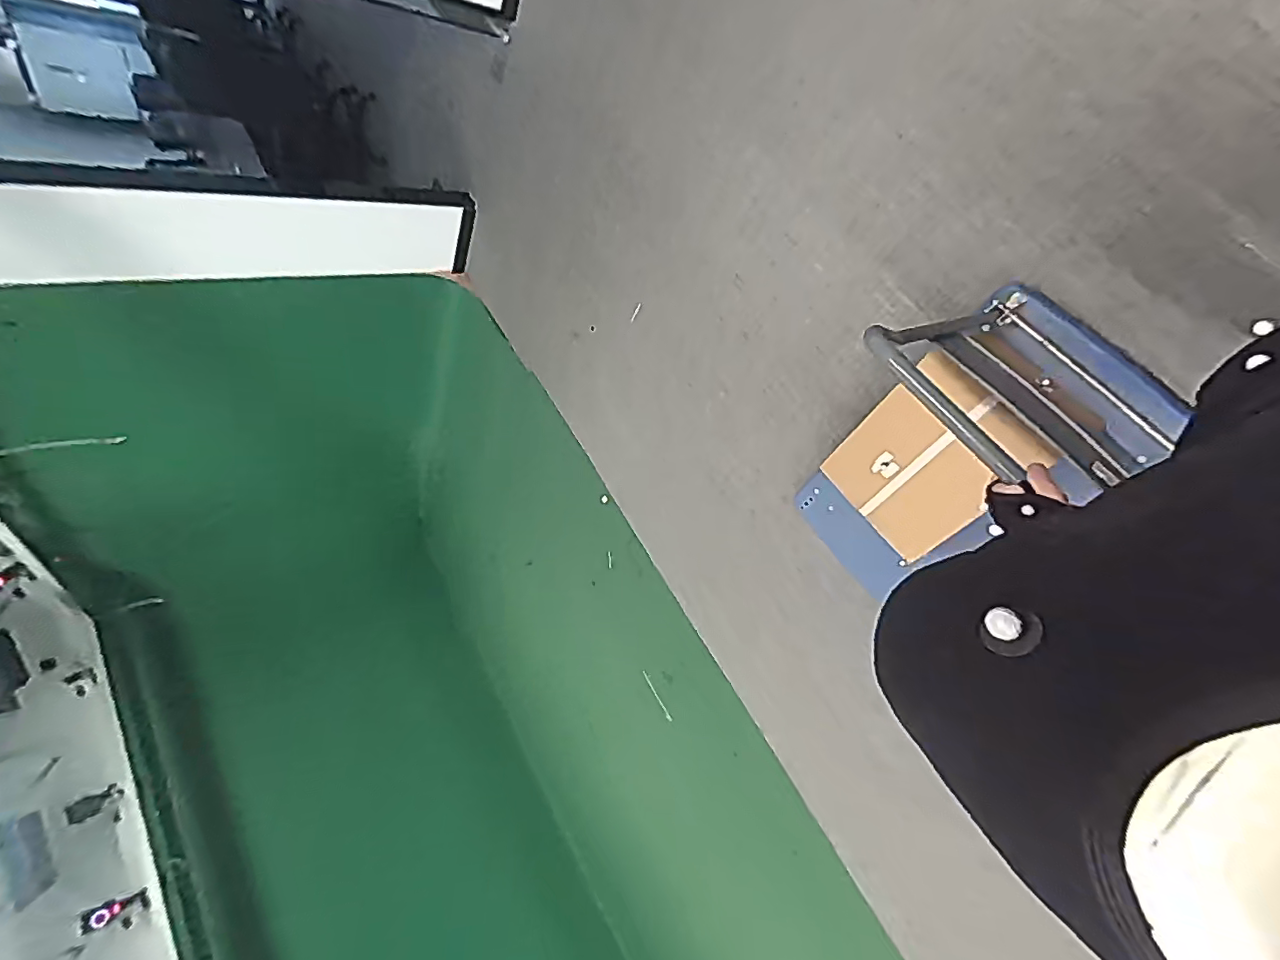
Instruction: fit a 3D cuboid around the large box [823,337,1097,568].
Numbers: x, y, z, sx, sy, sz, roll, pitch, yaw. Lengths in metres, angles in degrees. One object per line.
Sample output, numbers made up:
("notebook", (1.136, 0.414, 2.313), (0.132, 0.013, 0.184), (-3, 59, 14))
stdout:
("large box", (0.723, -0.069, 1.257), (0.320, 0.320, 0.408), (54, 138, 22))
